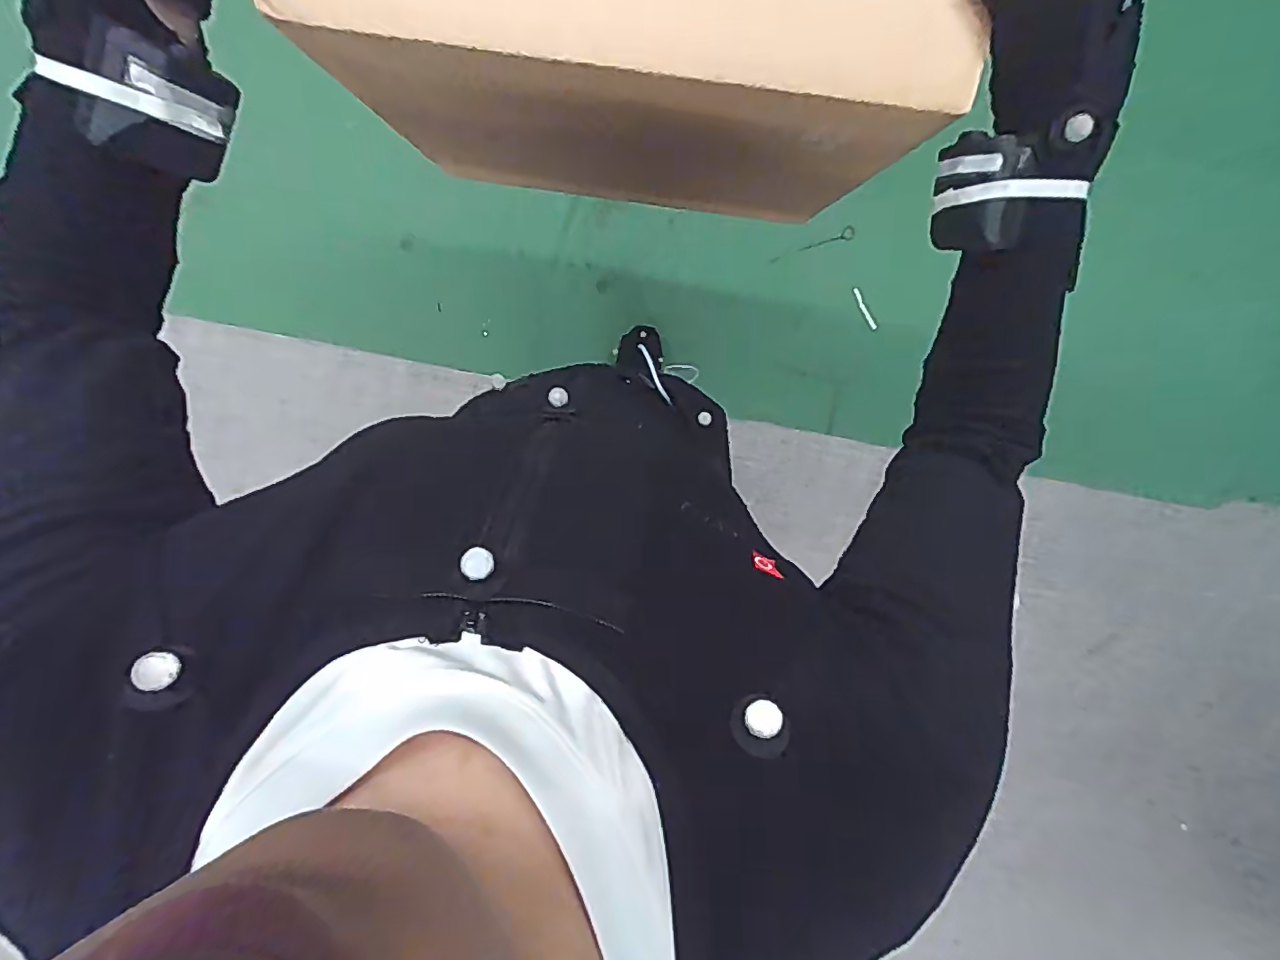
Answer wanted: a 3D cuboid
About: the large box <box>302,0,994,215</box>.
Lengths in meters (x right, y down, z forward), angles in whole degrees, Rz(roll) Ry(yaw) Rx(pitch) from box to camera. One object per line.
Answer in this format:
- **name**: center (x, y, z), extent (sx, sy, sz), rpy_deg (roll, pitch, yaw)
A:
- **large box**: center (0.013, -0.426, 0.424), extent (0.408, 0.320, 0.320), rpy_deg (5, 105, -4)
